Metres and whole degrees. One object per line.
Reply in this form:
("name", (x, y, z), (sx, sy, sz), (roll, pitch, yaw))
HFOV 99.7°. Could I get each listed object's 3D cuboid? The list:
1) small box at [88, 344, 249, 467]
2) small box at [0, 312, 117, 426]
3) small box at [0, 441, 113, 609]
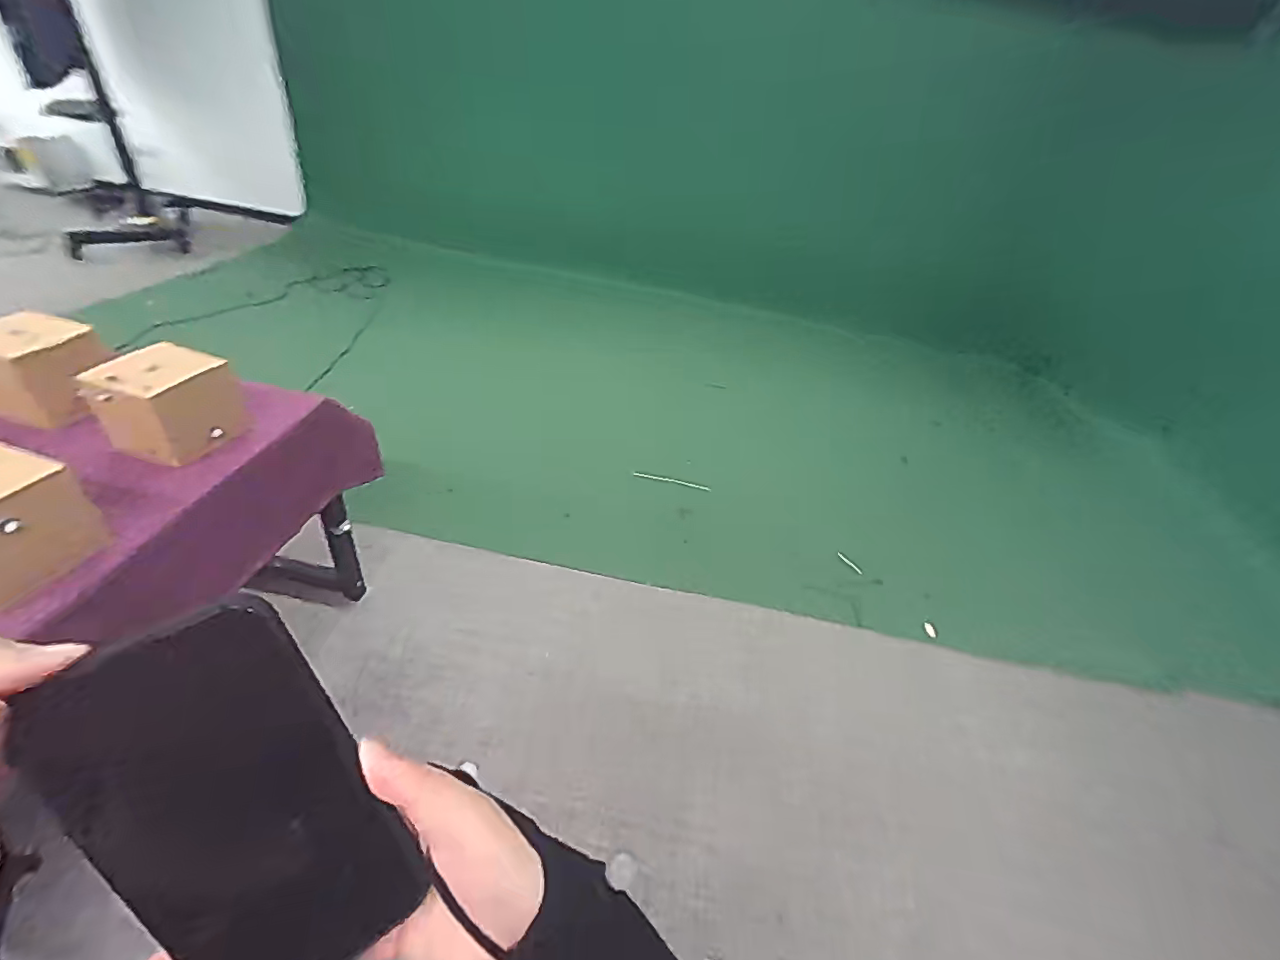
("small box", (-0.958, -0.156, 1.122), (0.168, 0.176, 0.179), (16, 37, 8))
("small box", (-1.261, -0.234, 1.147), (0.179, 0.176, 0.168), (15, 38, 5))
("small box", (-0.984, 0.067, 0.827), (0.168, 0.176, 0.179), (16, 37, 7))
